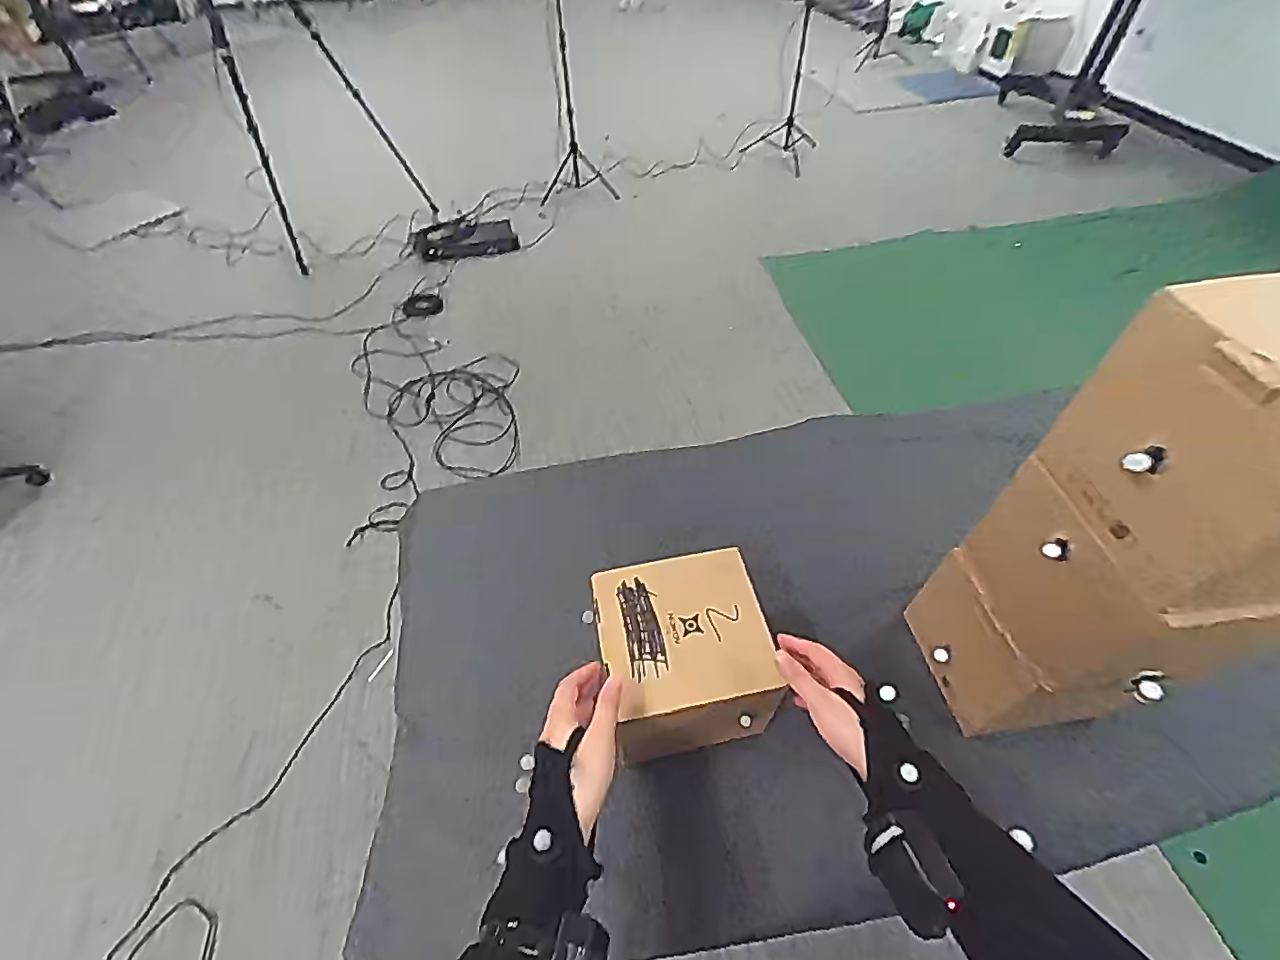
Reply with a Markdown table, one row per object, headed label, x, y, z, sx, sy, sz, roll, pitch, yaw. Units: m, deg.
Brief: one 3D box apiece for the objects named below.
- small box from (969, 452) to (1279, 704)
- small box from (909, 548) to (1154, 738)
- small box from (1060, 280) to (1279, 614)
| label | x | y | z | sx | sy | sz | roll | pitch | yaw |
| --- | --- | --- | --- | --- | --- | --- | --- | --- | --- |
| small box | 0.448 | 0.086 | 0.499 | 0.168 | 0.176 | 0.179 | -7 | 52 | -1 |
| small box | 0.454 | 0.183 | 0.628 | 0.179 | 0.176 | 0.168 | -7 | 50 | -3 |
| small box | 0.443 | -0.020 | 0.374 | 0.179 | 0.176 | 0.168 | -5 | 50 | 0 |
